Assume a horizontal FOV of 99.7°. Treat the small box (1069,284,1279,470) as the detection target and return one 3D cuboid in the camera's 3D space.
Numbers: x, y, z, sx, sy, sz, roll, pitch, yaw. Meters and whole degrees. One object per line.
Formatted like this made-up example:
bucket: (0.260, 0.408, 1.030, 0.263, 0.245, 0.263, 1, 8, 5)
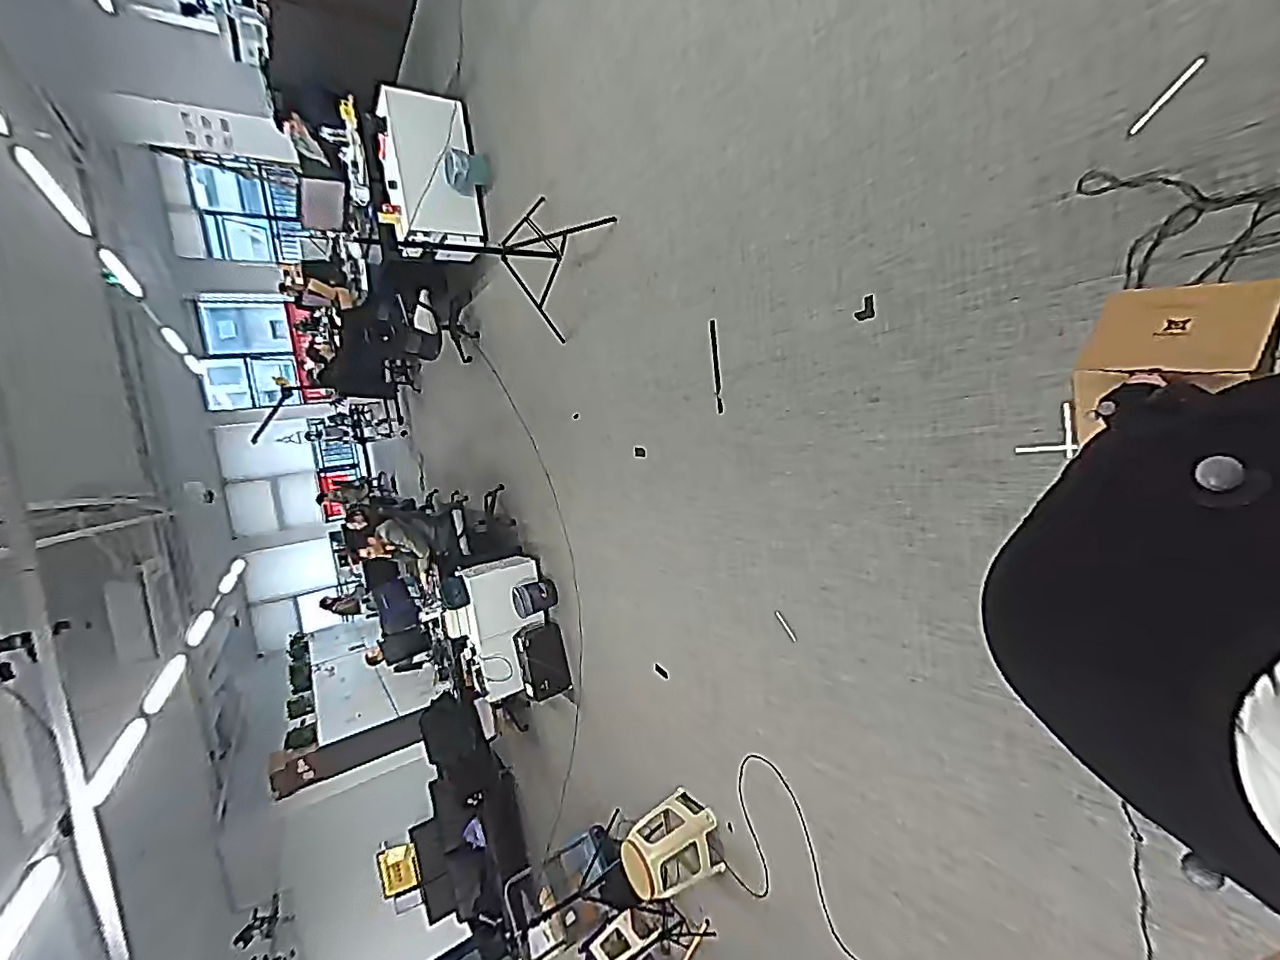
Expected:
small box: (0.718, -0.137, 0.734, 0.168, 0.179, 0.176, 17, 150, 50)
